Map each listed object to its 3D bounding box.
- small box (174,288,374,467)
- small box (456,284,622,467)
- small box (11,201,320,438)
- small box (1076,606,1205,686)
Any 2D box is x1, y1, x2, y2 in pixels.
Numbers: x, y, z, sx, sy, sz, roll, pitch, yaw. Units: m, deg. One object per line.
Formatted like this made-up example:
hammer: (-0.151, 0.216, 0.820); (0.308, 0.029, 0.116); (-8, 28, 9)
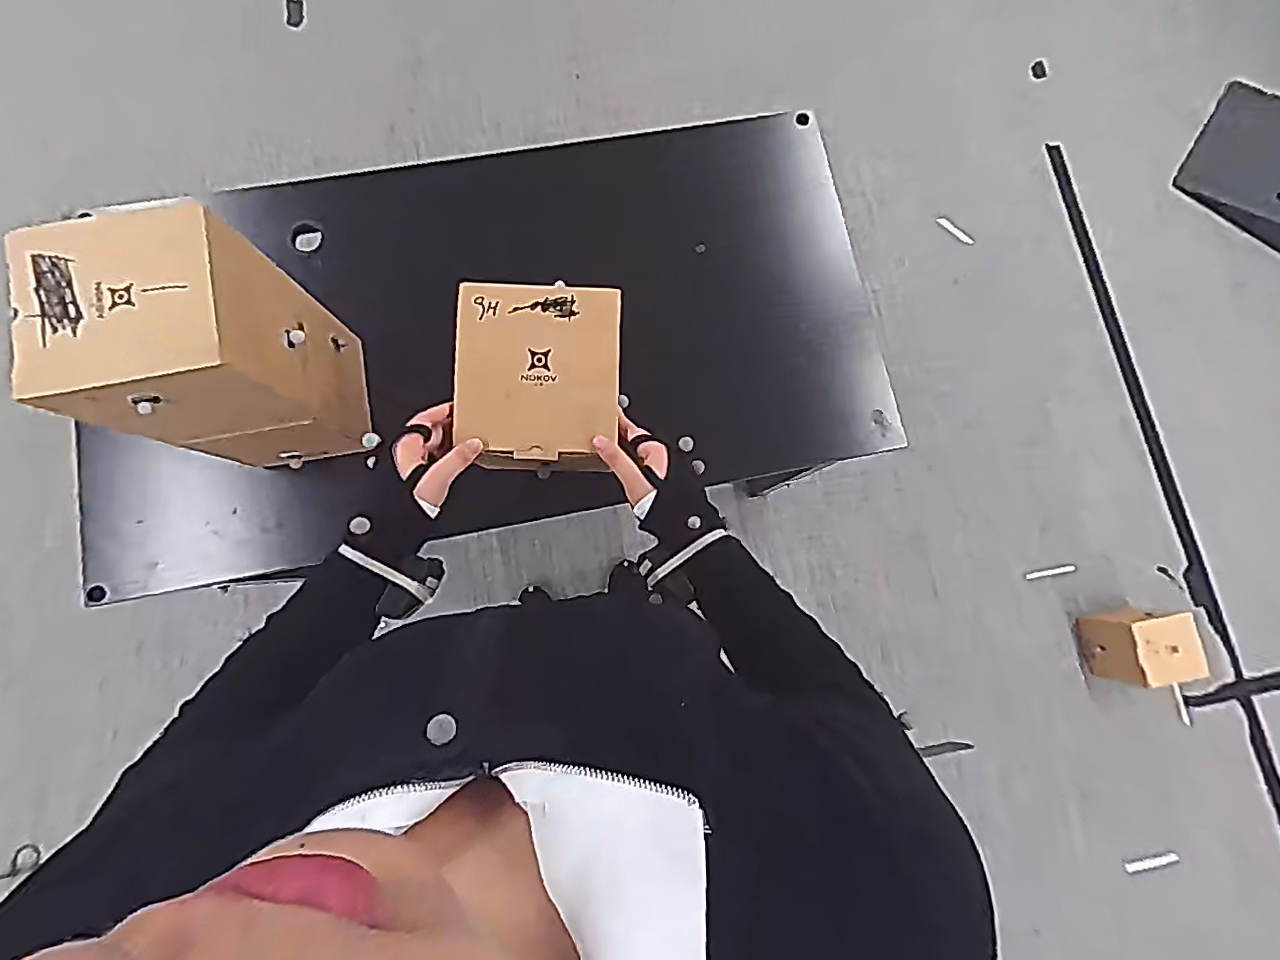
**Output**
small box: (-0.481, -0.127, 0.725); (0.168, 0.176, 0.179); (-11, 83, -4)
small box: (-0.106, -0.107, 0.626); (0.168, 0.176, 0.179); (1, 87, -4)
small box: (-0.472, -0.151, 0.563); (0.179, 0.176, 0.168); (-12, 82, -5)
small box: (1.351, 0.444, 1.470); (0.179, 0.176, 0.168); (-9, 82, -4)
